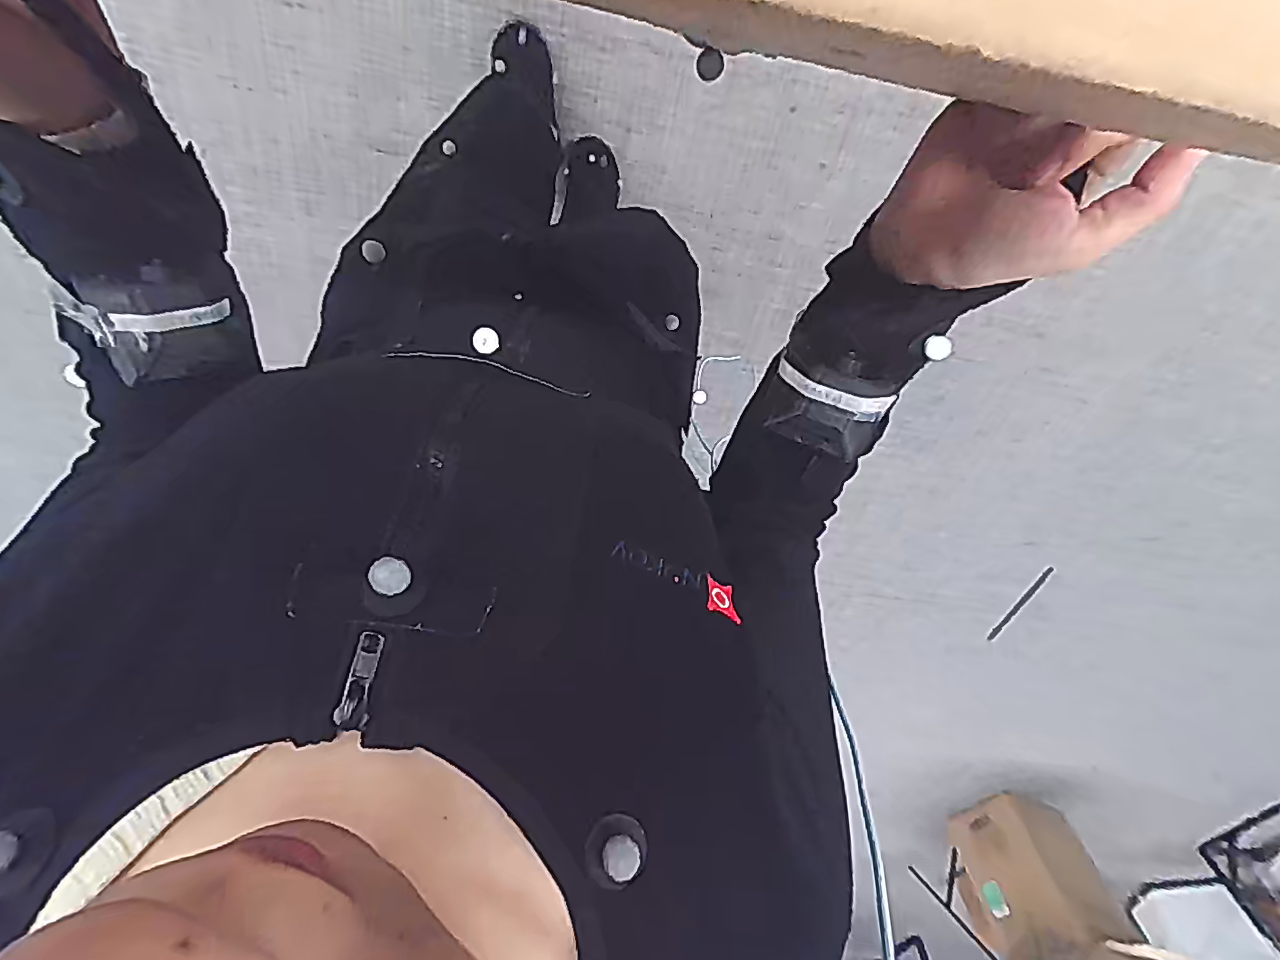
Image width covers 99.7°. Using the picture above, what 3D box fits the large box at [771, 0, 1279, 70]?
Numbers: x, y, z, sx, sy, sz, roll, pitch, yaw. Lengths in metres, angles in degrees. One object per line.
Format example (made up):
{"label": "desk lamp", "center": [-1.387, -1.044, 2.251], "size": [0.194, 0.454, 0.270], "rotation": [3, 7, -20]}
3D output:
{"label": "large box", "center": [-0.001, -0.301, 0.082], "size": [0.408, 0.320, 0.320], "rotation": [5, 132, -8]}
